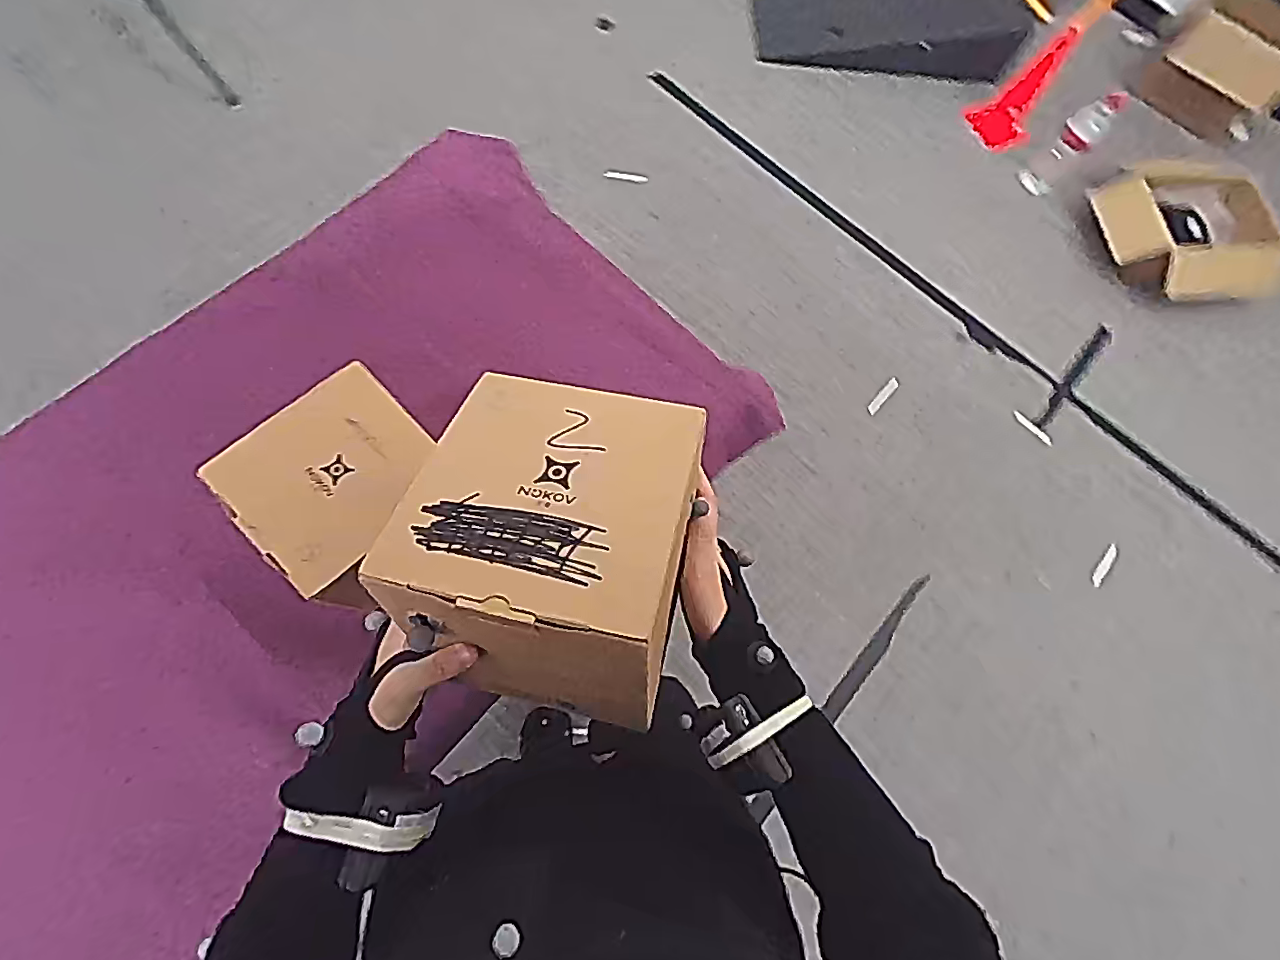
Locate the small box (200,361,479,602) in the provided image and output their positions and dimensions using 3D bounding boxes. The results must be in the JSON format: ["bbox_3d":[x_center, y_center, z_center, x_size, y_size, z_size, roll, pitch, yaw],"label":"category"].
[{"bbox_3d":[-0.299,0.014,0.586,0.168,0.176,0.179,44,72,6],"label":"small box"}]
